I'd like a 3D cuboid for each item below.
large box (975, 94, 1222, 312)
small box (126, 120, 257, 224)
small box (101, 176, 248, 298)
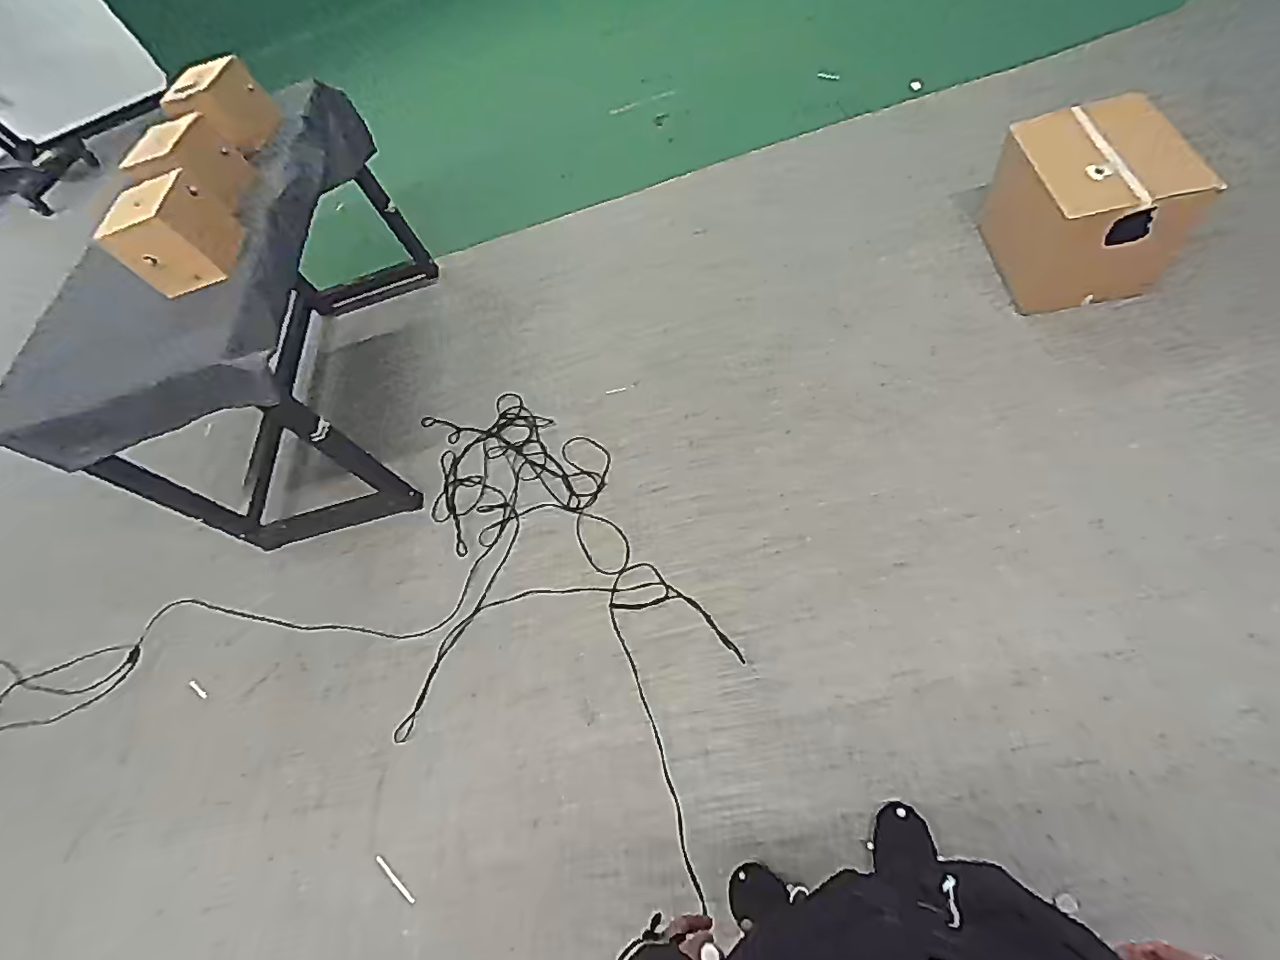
[{"bbox_3d":[1.168,-0.727,1.446,0.320,0.320,0.408,-9,61,12],"label":"large box"},{"bbox_3d":[-1.130,-0.770,1.382,0.168,0.176,0.179,-7,61,15],"label":"small box"},{"bbox_3d":[-1.038,-0.538,1.223,0.168,0.176,0.179,-14,58,11],"label":"small box"}]
